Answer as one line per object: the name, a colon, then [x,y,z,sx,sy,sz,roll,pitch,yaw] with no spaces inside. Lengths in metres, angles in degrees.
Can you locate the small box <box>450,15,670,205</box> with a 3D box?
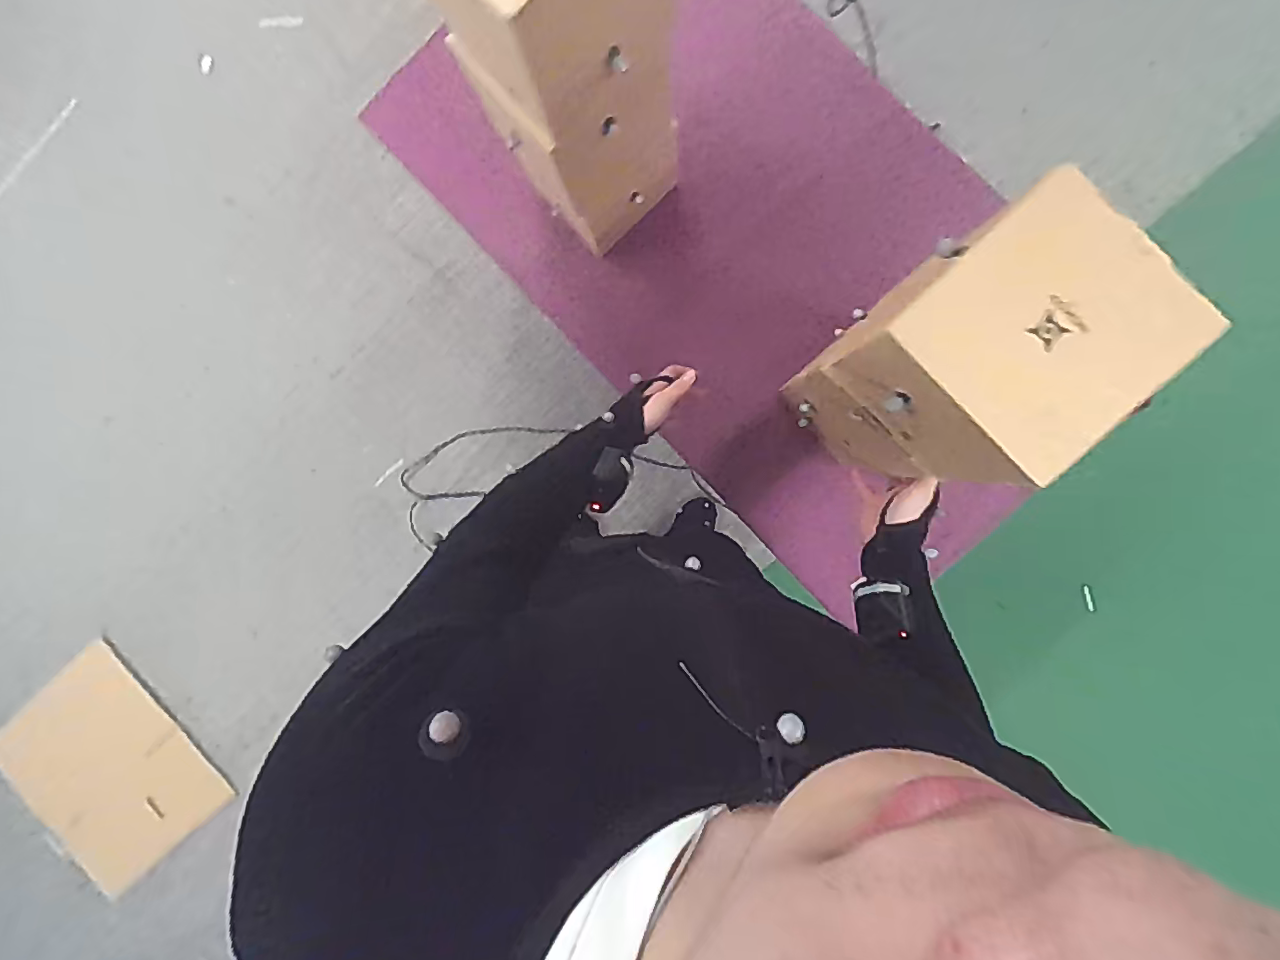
small box: [-0.077,-0.468,0.632,0.179,0.176,0.168,-41,90,5]

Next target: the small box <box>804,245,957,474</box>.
small box: [0.312,-0.123,0.626,0.179,0.176,0.168,-44,88,4]

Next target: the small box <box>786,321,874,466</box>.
small box: [0.339,-0.139,0.787,0.179,0.176,0.168,-40,89,6]

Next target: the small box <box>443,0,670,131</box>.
small box: [-0.082,-0.463,0.468,0.179,0.176,0.168,-43,89,5]

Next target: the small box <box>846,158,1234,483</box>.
small box: [0.303,-0.114,0.464,0.179,0.176,0.168,-43,88,4]
